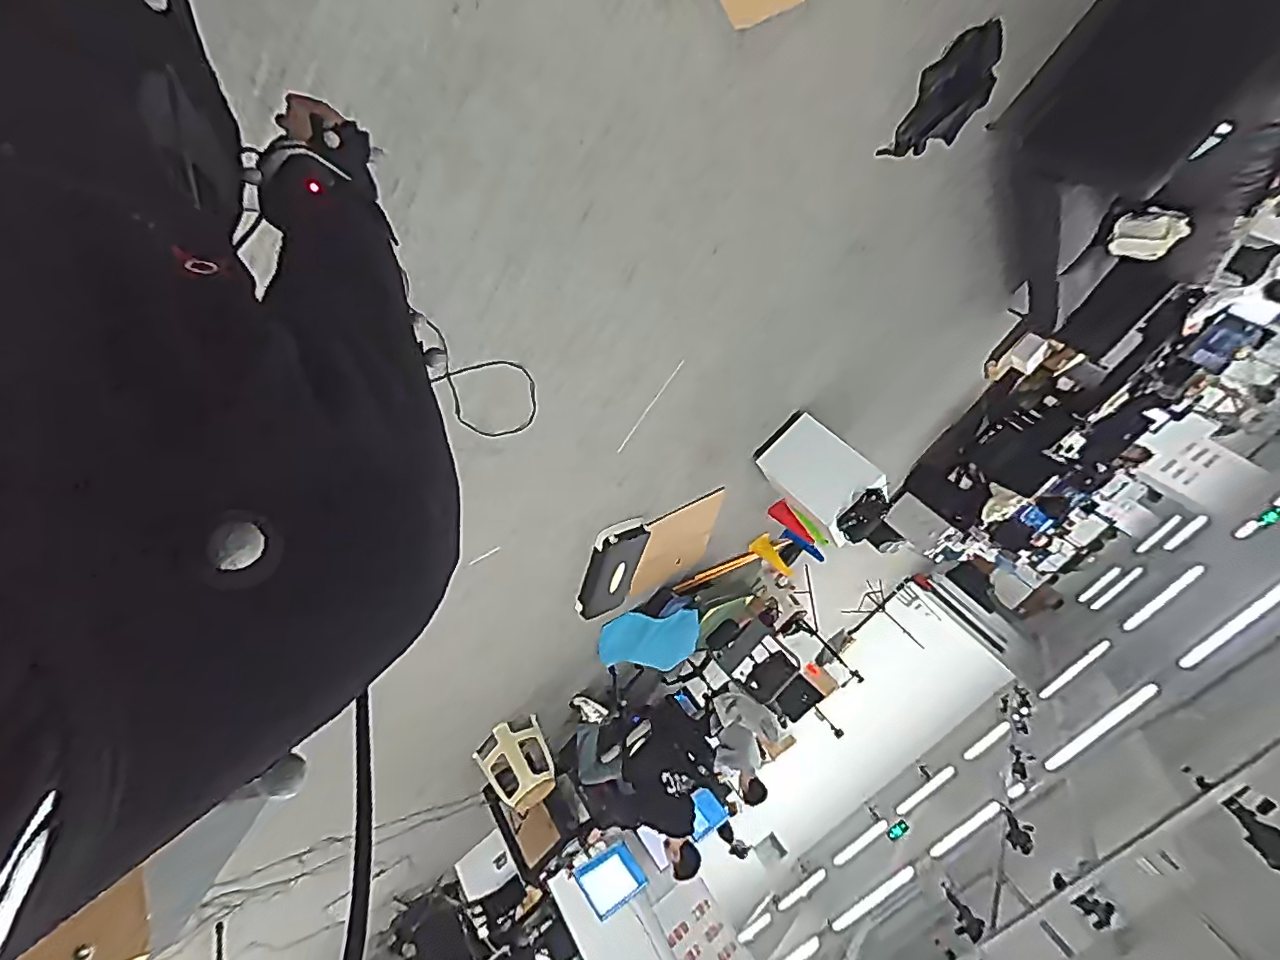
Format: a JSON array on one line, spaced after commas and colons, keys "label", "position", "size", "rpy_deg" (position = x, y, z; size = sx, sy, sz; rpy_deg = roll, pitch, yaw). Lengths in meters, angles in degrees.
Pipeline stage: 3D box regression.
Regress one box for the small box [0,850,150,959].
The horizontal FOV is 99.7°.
[{"label": "small box", "position": [-0.961, 0.765, 0.900], "size": [0.179, 0.176, 0.168], "rpy_deg": [12, 120, -53]}]
